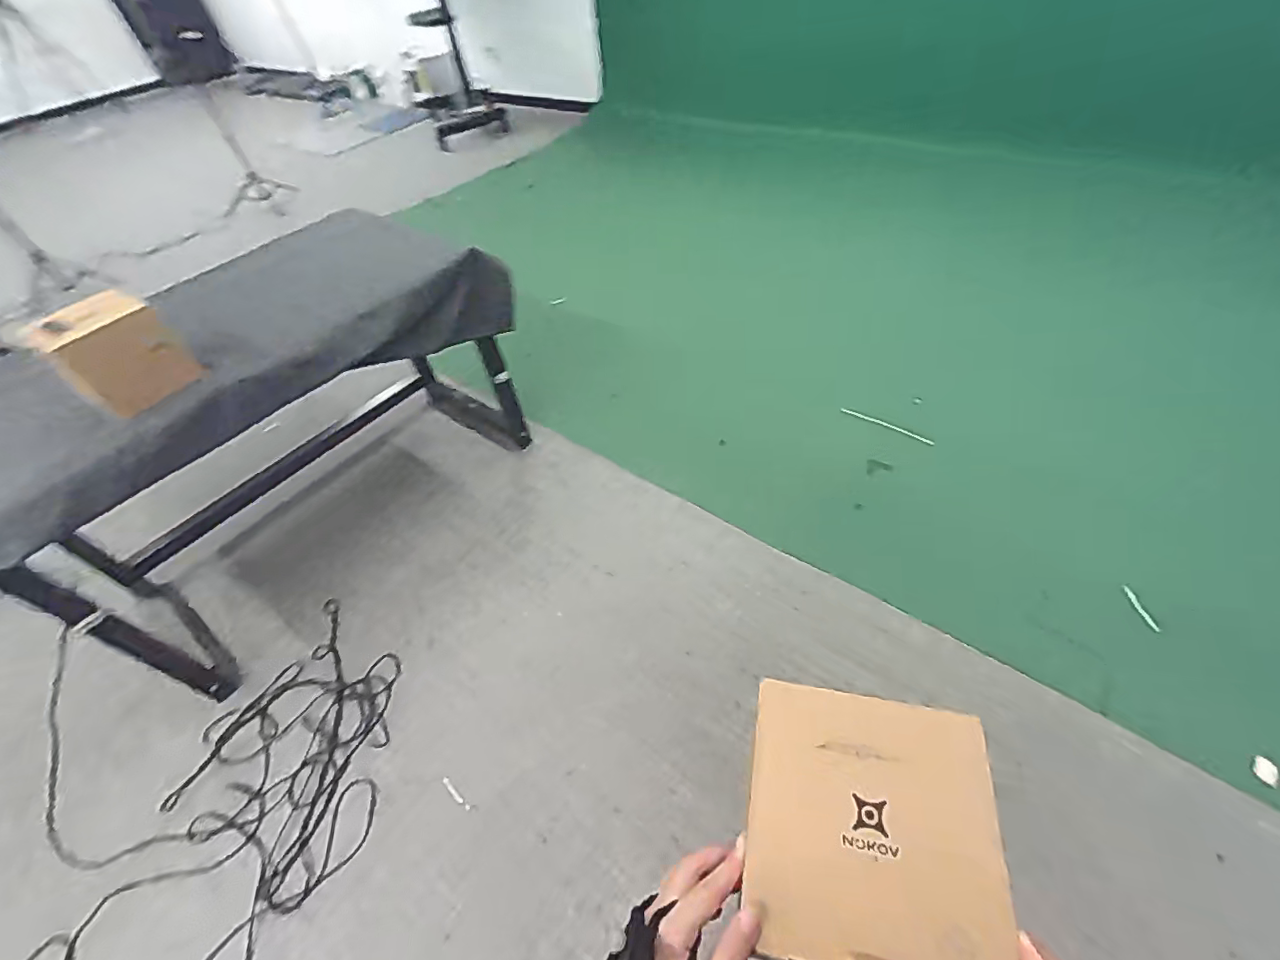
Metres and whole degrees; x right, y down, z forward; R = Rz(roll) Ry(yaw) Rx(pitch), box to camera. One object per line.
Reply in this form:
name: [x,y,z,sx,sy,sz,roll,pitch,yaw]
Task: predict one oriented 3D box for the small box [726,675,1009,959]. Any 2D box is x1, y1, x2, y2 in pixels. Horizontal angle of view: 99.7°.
small box: [0.160,0.284,0.434,0.168,0.176,0.179,6,50,11]
